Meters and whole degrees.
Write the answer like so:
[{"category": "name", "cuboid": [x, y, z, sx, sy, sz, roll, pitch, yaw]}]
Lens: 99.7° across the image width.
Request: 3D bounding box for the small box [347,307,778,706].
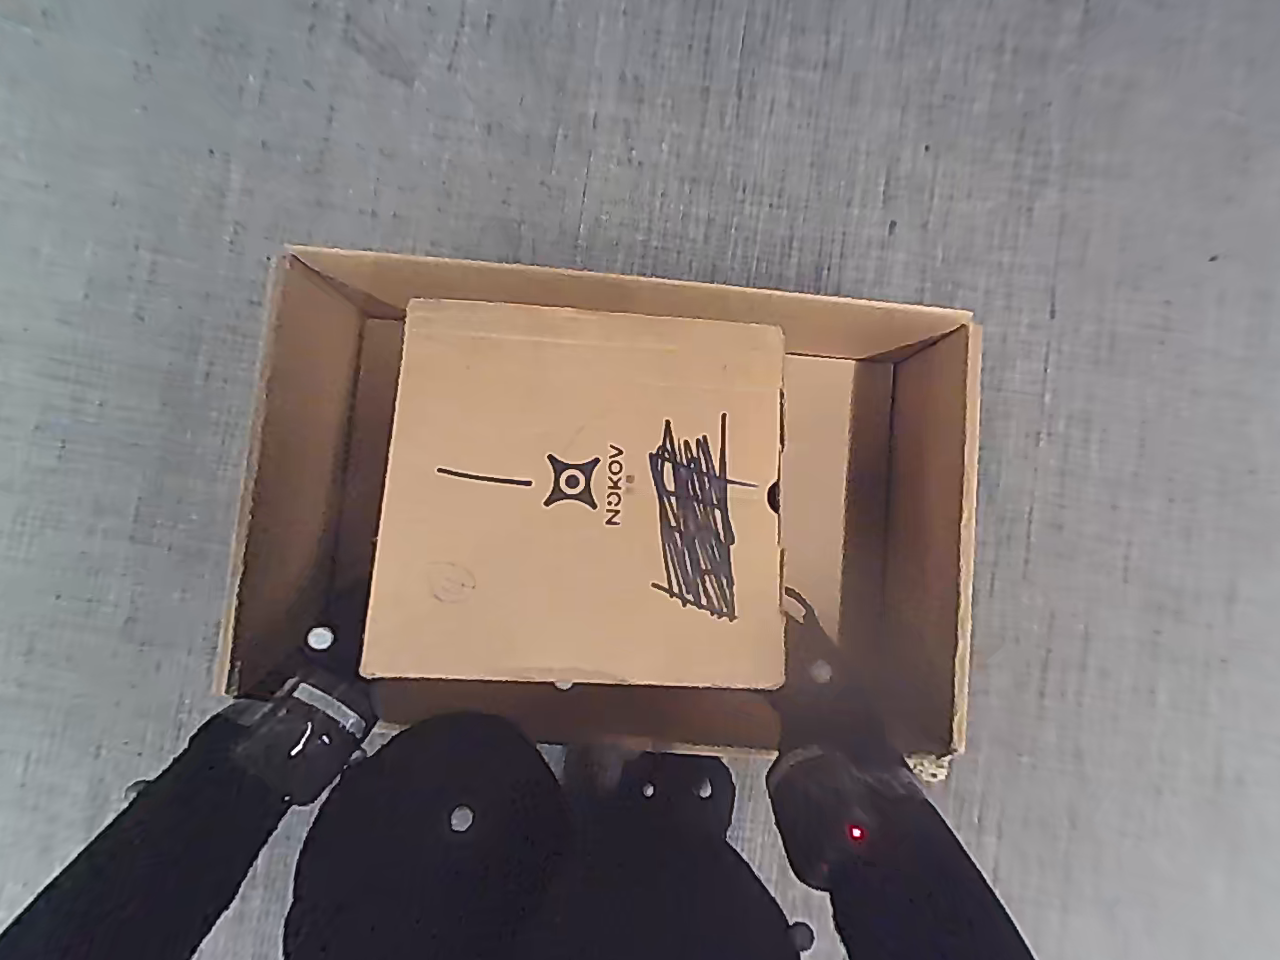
[{"category": "small box", "cuboid": [-0.033, 0.023, 0.317, 0.179, 0.176, 0.168, 5, 79, -3]}]
